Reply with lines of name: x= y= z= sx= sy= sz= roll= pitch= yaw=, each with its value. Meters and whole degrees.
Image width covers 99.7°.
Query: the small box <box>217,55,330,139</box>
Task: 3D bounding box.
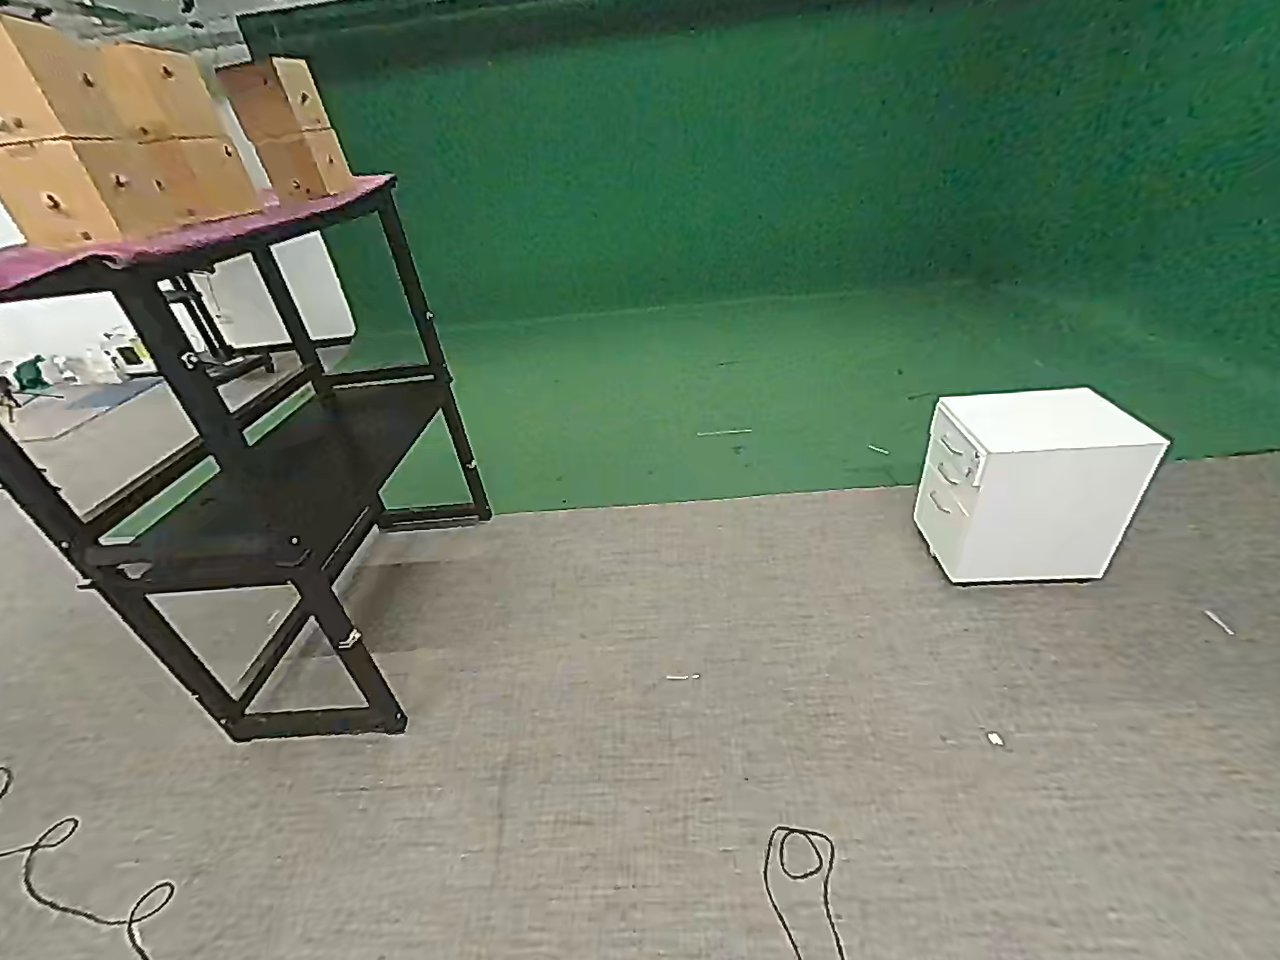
small box: x=-1.031 y=-1.090 z=1.543 sx=0.179 sy=0.176 sz=0.168 roll=-5 pitch=35 yaw=7

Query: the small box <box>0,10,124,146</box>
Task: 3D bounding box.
small box: x=-1.054 y=-0.673 z=0.927 sx=0.168 sy=0.176 sz=0.179 roll=-12 pitch=34 yaw=-6

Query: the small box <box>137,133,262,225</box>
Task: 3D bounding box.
small box: x=-1.058 y=-0.715 z=1.292 sx=0.168 sy=0.176 sz=0.179 roll=-5 pitch=33 yaw=6

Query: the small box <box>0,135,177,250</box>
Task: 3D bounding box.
small box: x=-1.036 y=-0.538 z=1.017 sx=0.168 sy=0.176 sz=0.179 roll=-9 pitch=34 yaw=-4

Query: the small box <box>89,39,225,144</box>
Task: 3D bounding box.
small box: x=-1.085 y=-0.851 z=1.203 sx=0.168 sy=0.176 sz=0.179 roll=-5 pitch=32 yaw=6
